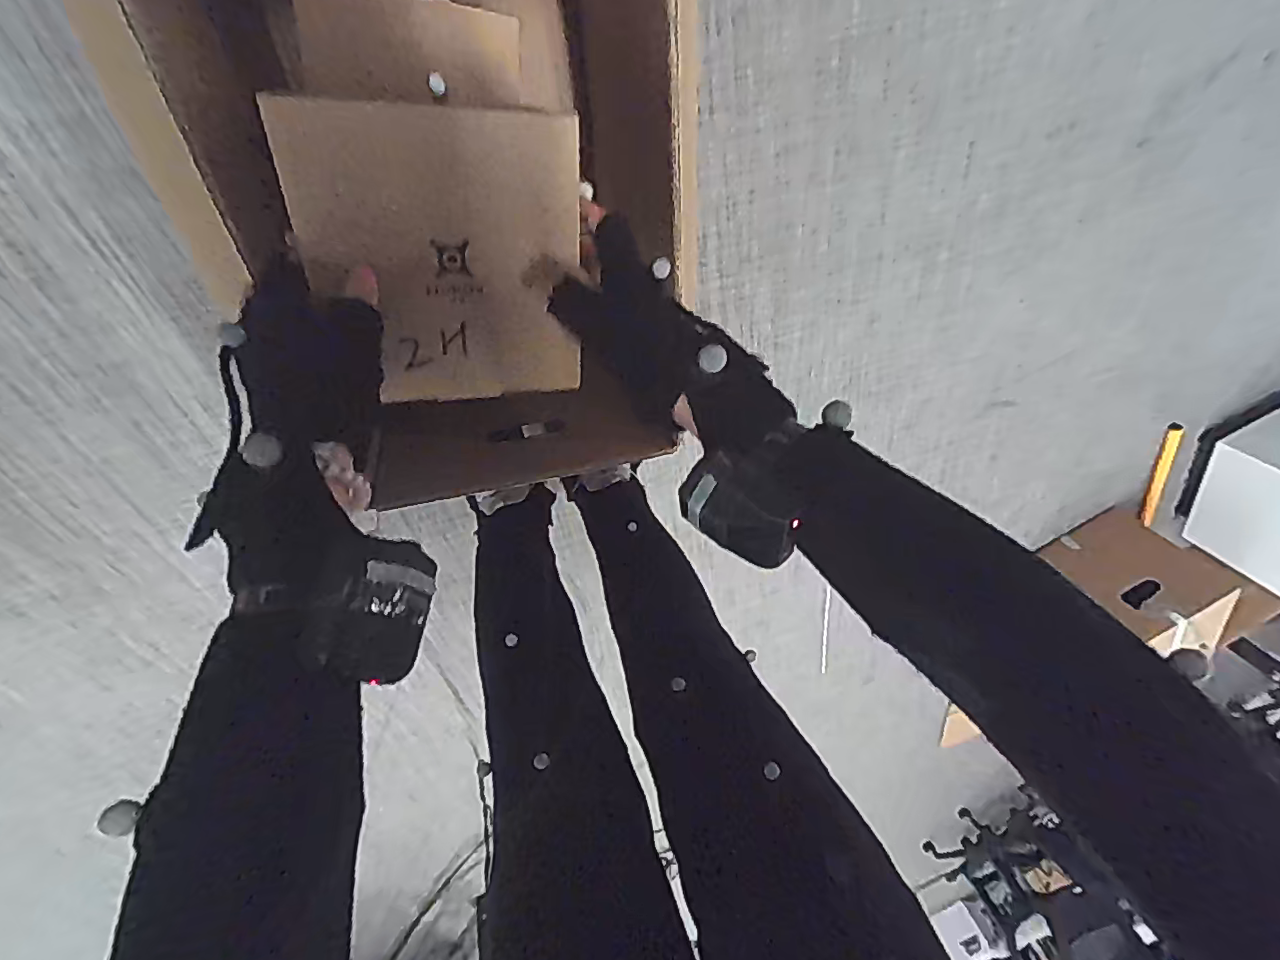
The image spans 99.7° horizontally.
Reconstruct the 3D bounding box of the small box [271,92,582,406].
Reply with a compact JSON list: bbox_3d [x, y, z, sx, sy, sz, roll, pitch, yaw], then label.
[{"bbox_3d":[-0.142,-0.174,0.404,0.168,0.176,0.179,-7,125,-16],"label":"small box"}]
